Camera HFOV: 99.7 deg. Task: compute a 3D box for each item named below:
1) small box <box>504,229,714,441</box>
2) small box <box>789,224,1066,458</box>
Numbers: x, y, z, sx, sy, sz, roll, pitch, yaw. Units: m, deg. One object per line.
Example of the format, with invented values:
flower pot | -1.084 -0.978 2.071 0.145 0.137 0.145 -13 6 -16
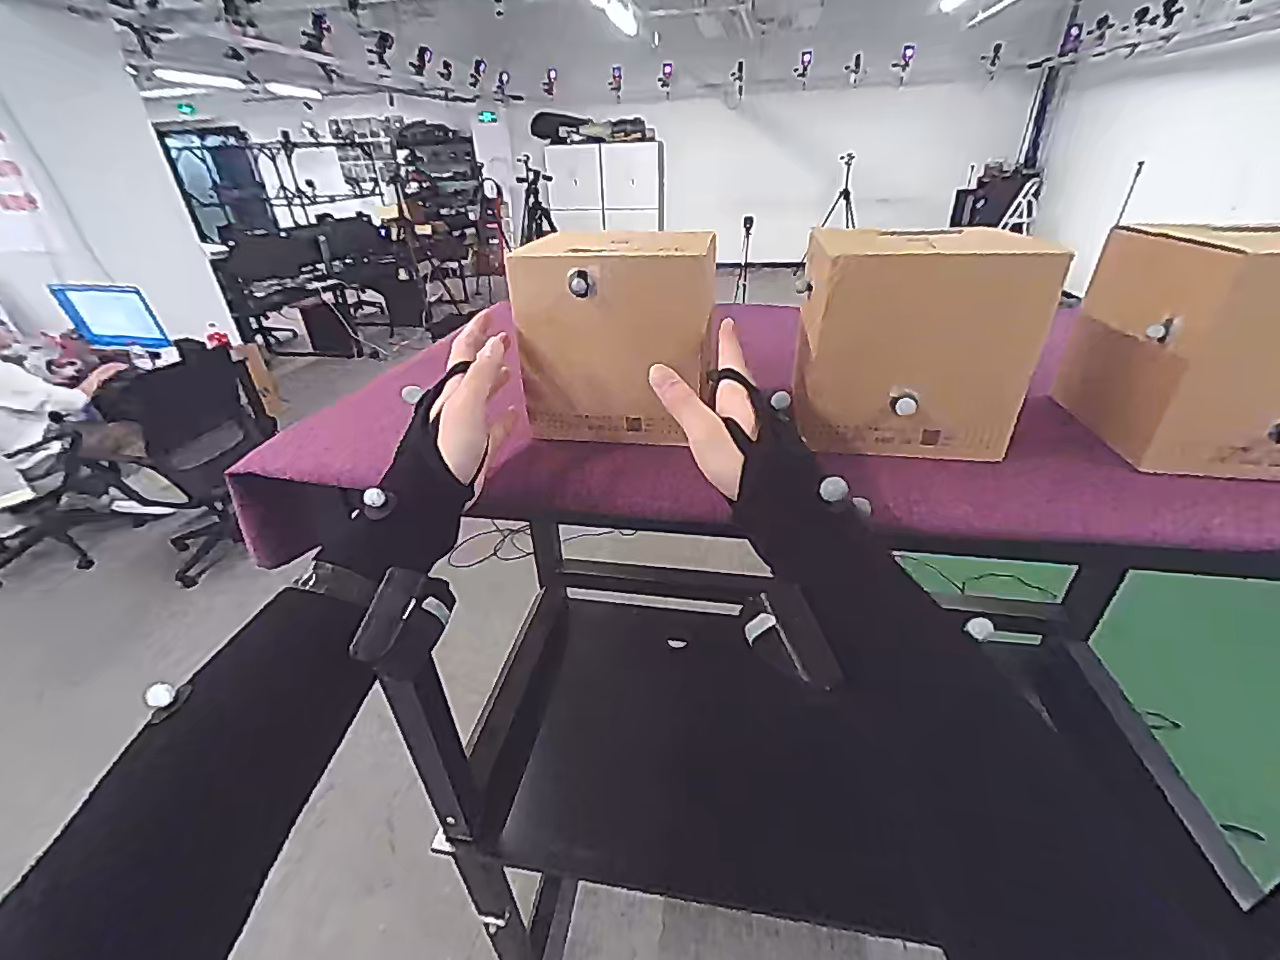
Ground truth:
small box | -0.017 -0.152 0.537 0.168 0.176 0.179 3 29 10
small box | 0.233 -0.136 0.497 0.168 0.176 0.179 4 31 10
